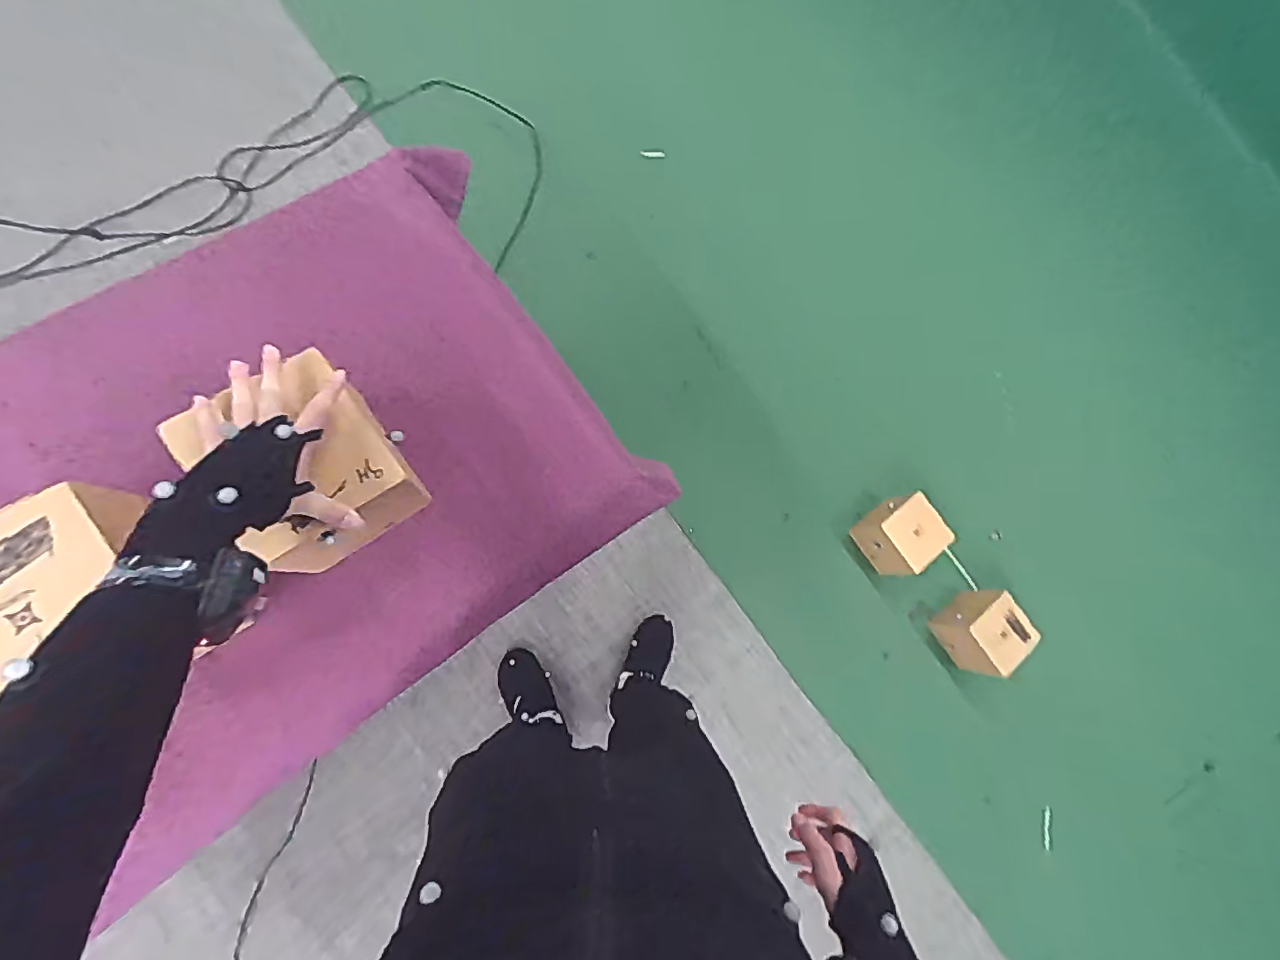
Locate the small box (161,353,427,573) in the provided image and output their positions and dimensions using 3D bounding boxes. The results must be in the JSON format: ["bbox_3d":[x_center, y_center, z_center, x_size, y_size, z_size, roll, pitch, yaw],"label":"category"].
[{"bbox_3d":[-0.374,-0.007,0.623,0.168,0.176,0.179,-35,87,-16],"label":"small box"}]

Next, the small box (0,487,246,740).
[{"bbox_3d":[-0.563,0.134,0.555,0.168,0.176,0.179,-34,88,-16],"label":"small box"}]

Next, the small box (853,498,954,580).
[{"bbox_3d":[0.755,0.179,1.578,0.179,0.176,0.168,-35,87,-17],"label":"small box"}]
